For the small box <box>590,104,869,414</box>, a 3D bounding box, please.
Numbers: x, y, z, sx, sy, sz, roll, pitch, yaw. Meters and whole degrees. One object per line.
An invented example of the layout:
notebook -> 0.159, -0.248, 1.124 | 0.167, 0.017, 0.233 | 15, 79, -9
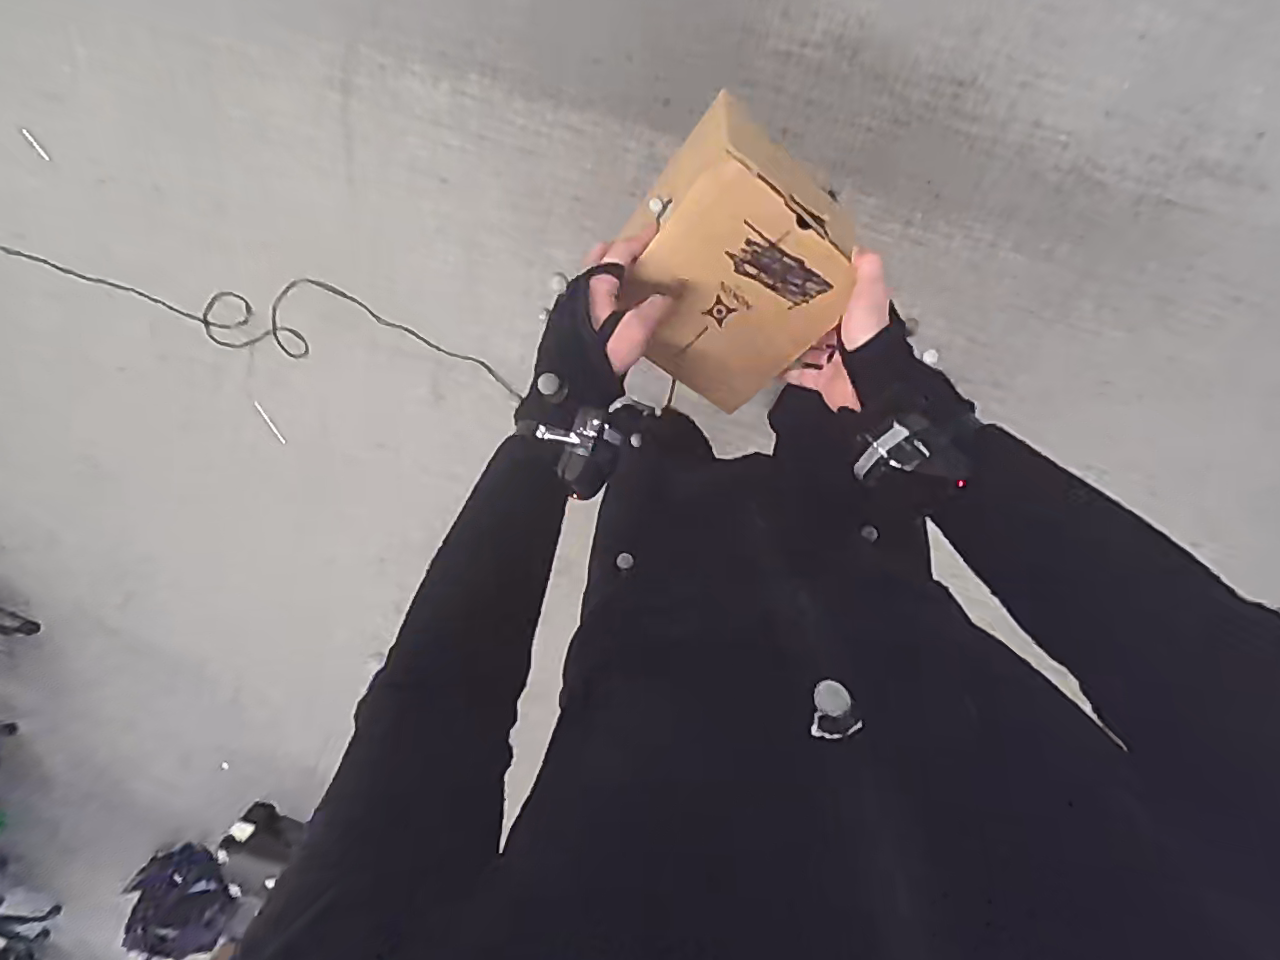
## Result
small box -> 0.075, -0.204, 0.504 | 0.168, 0.176, 0.179 | 29, 133, -20
